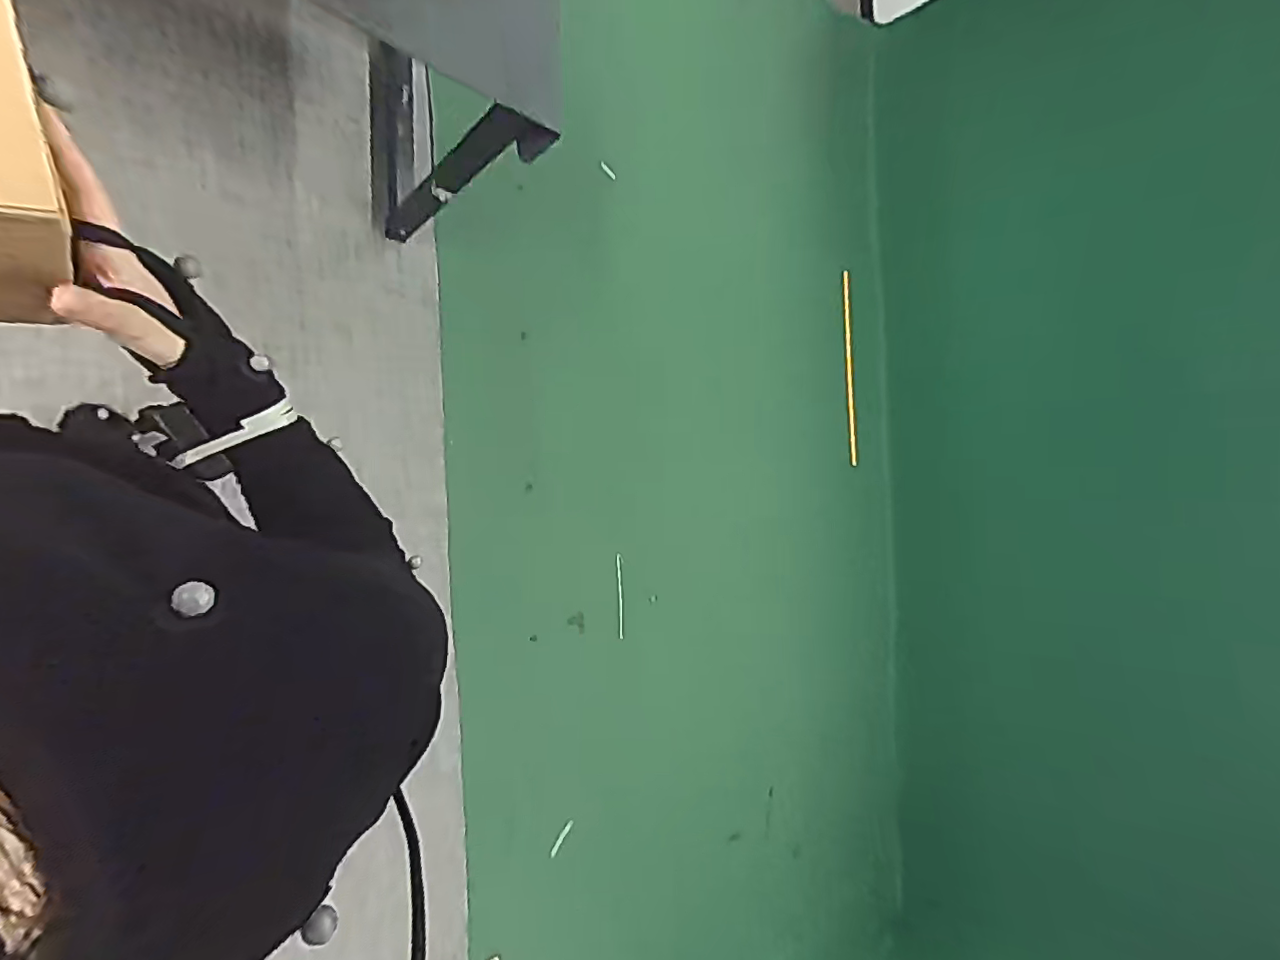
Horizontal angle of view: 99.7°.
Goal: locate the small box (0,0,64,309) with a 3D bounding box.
[{"bbox_3d":[-0.388,-0.187,0.232,0.168,0.176,0.179,-15,99,-47],"label":"small box"}]
